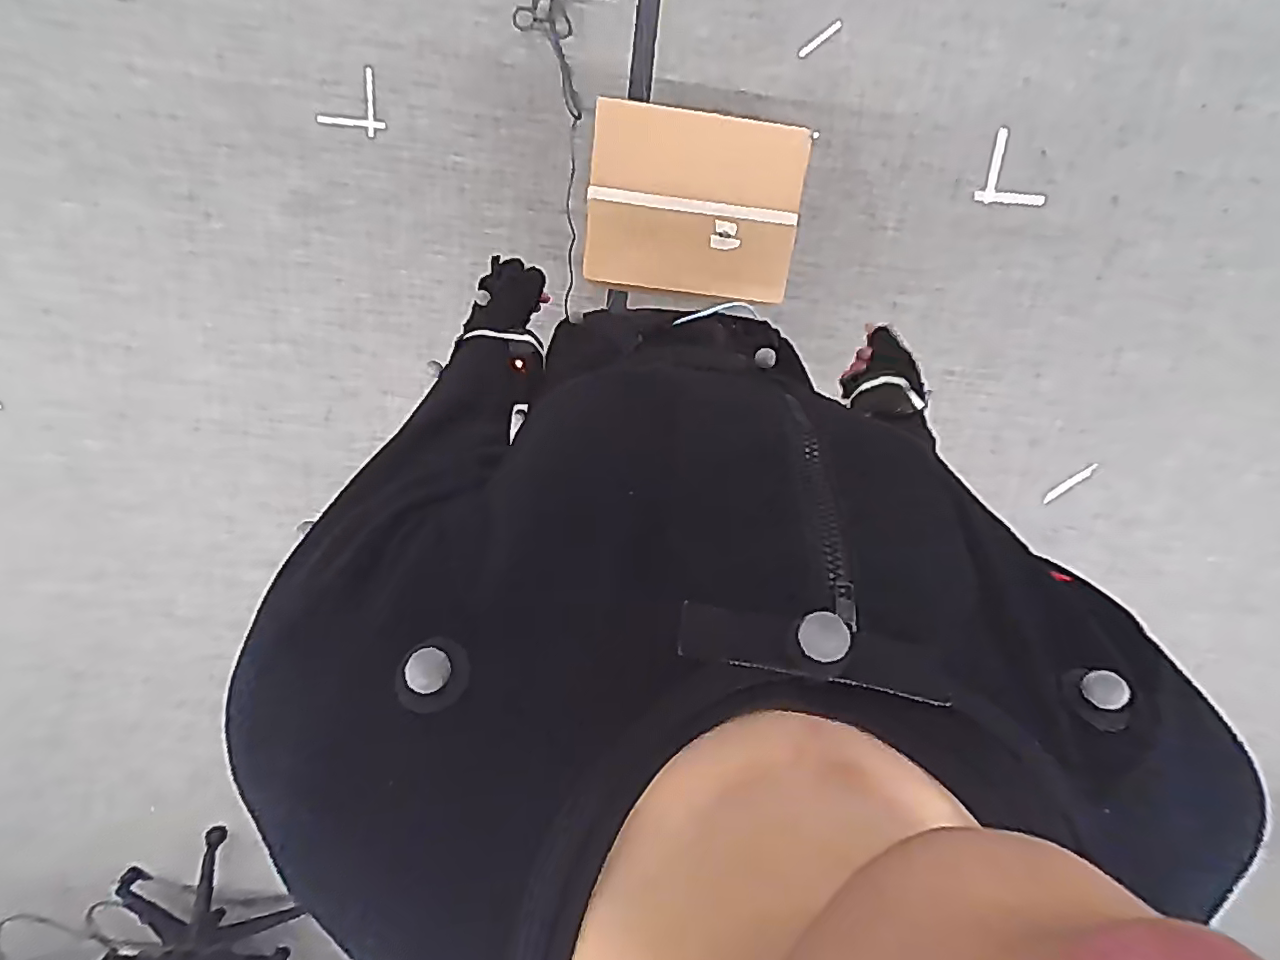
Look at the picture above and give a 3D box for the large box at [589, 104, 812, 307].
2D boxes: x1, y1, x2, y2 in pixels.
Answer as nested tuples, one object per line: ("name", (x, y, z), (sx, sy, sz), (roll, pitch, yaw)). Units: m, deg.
("large box", (0.102, -0.566, 1.185), (0.408, 0.320, 0.320), (6, 107, -5))
